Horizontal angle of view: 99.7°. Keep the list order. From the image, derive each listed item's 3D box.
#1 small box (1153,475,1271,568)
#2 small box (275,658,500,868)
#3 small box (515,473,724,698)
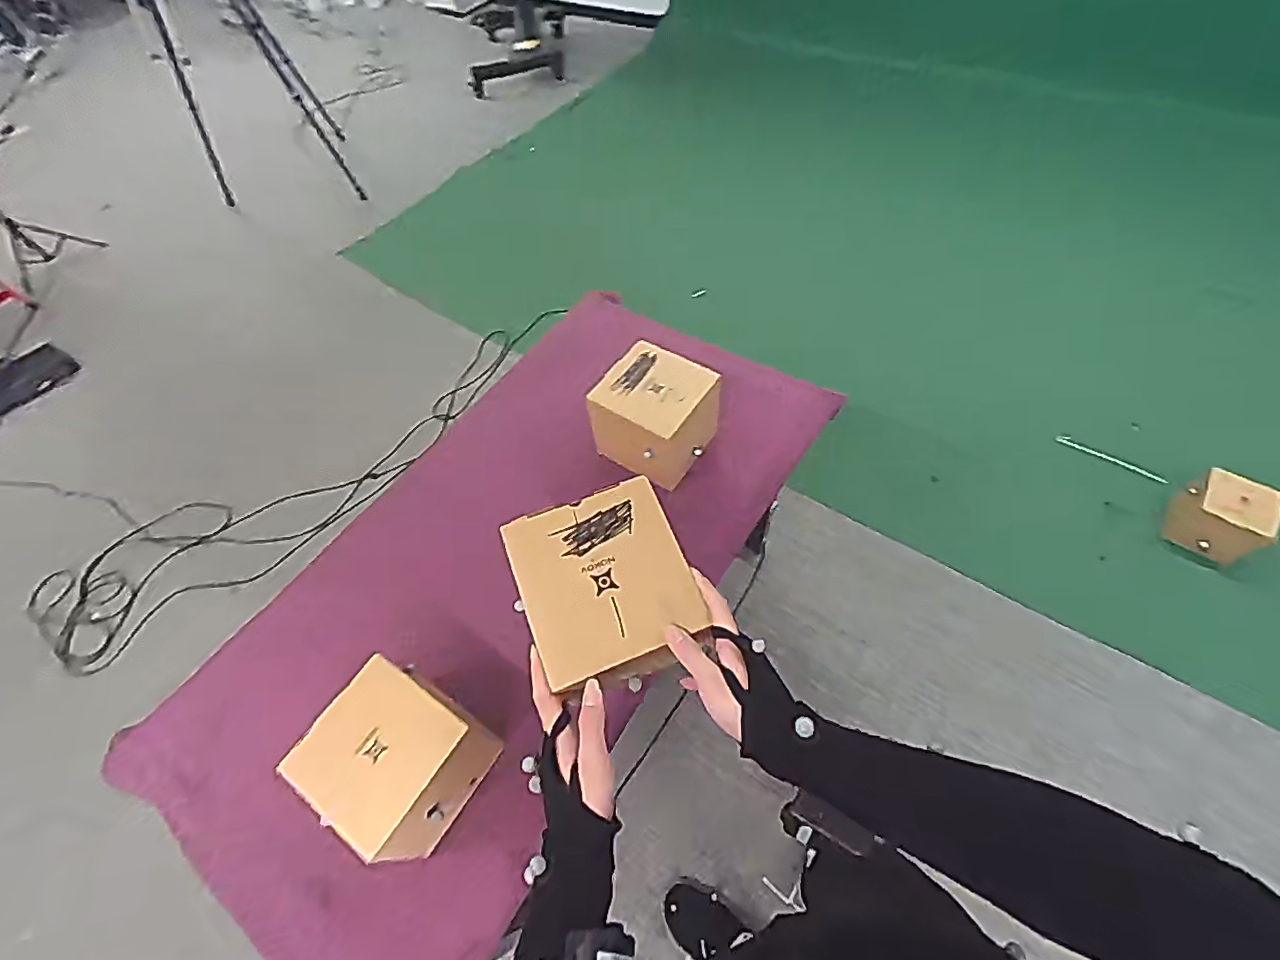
[{"bbox_3d":[1.657,0.124,1.576,0.168,0.176,0.179,31,64,22],"label":"small box"},{"bbox_3d":[-0.315,0.369,0.714,0.179,0.176,0.168,26,62,21],"label":"small box"},{"bbox_3d":[-0.026,0.124,0.604,0.168,0.176,0.179,-19,65,-9],"label":"small box"}]
